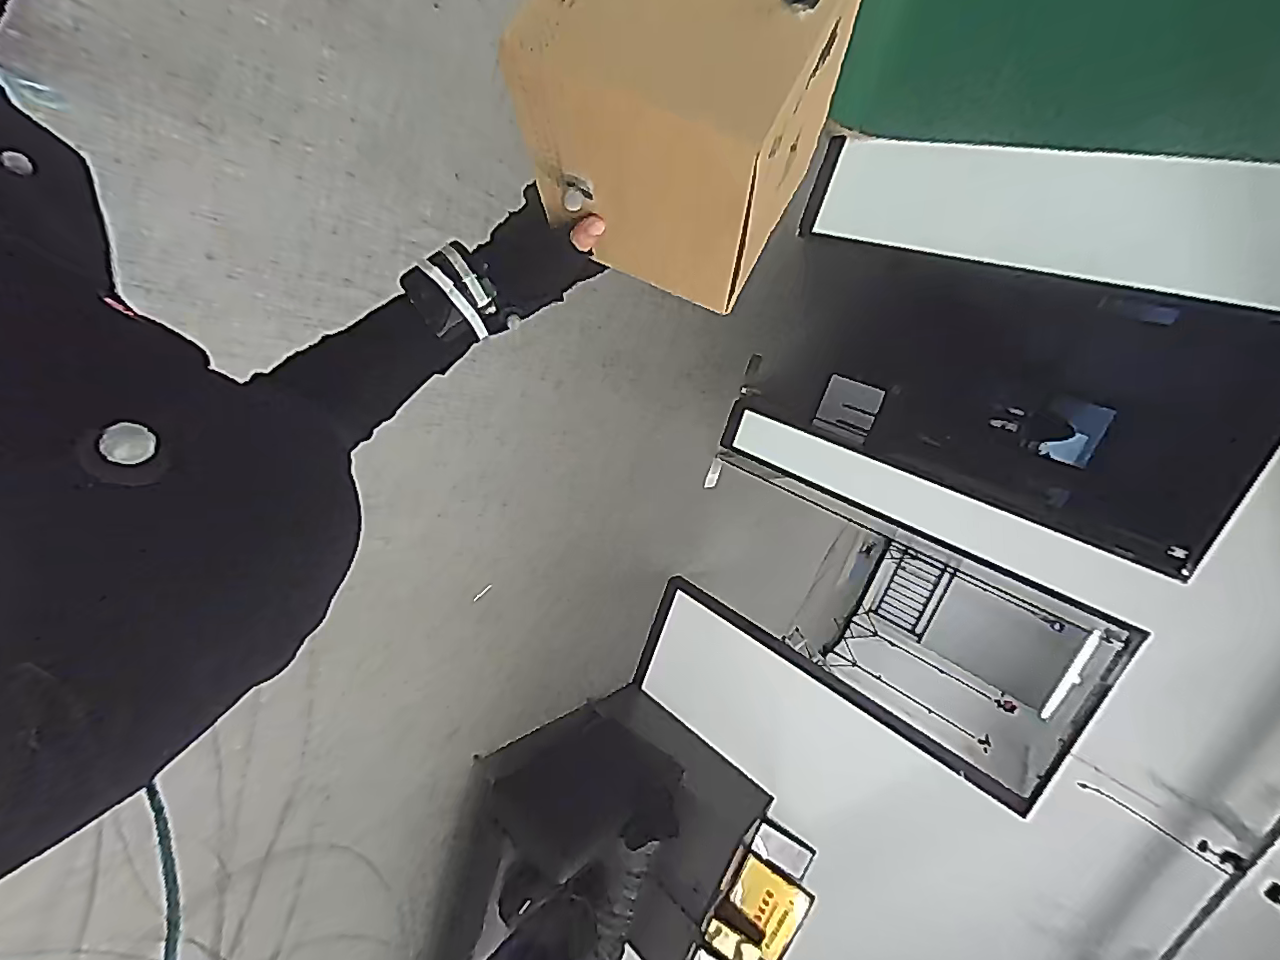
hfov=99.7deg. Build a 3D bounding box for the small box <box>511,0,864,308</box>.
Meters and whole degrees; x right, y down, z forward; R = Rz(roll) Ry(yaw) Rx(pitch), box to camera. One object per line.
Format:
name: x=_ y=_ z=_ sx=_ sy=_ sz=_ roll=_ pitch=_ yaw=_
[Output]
small box: x=0.033 y=-0.265 z=0.391 sx=0.168 sy=0.176 sz=0.179 roll=-63 pitch=173 yaw=-9
